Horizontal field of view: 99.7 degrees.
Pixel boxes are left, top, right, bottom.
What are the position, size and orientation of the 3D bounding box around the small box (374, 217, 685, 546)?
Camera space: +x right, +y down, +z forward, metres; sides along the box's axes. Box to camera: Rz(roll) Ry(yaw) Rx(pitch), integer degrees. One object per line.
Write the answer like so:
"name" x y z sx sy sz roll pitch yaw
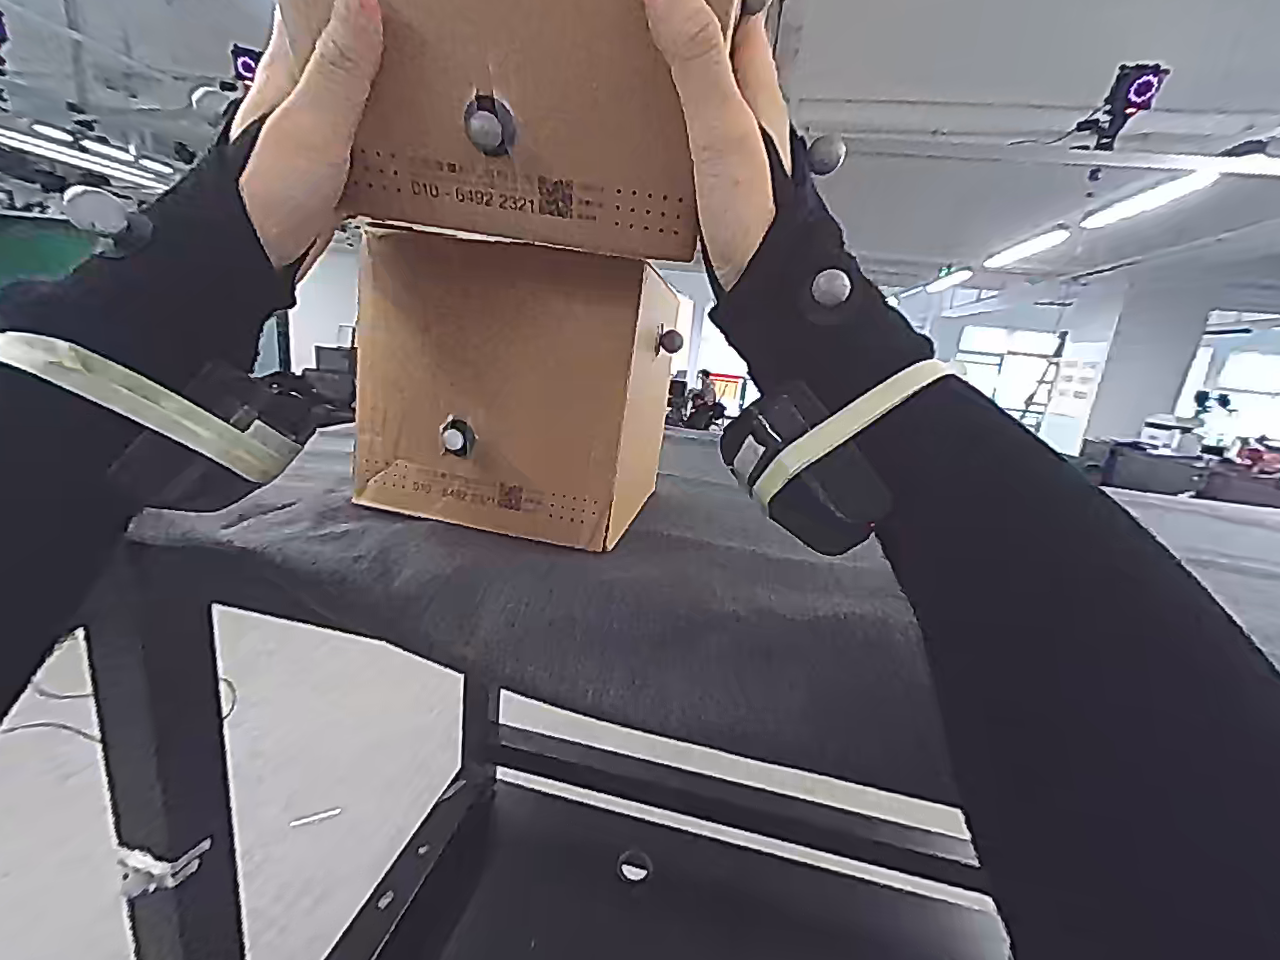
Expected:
"small box" -0.069 -0.067 0.386 0.168 0.176 0.179 10 13 8
